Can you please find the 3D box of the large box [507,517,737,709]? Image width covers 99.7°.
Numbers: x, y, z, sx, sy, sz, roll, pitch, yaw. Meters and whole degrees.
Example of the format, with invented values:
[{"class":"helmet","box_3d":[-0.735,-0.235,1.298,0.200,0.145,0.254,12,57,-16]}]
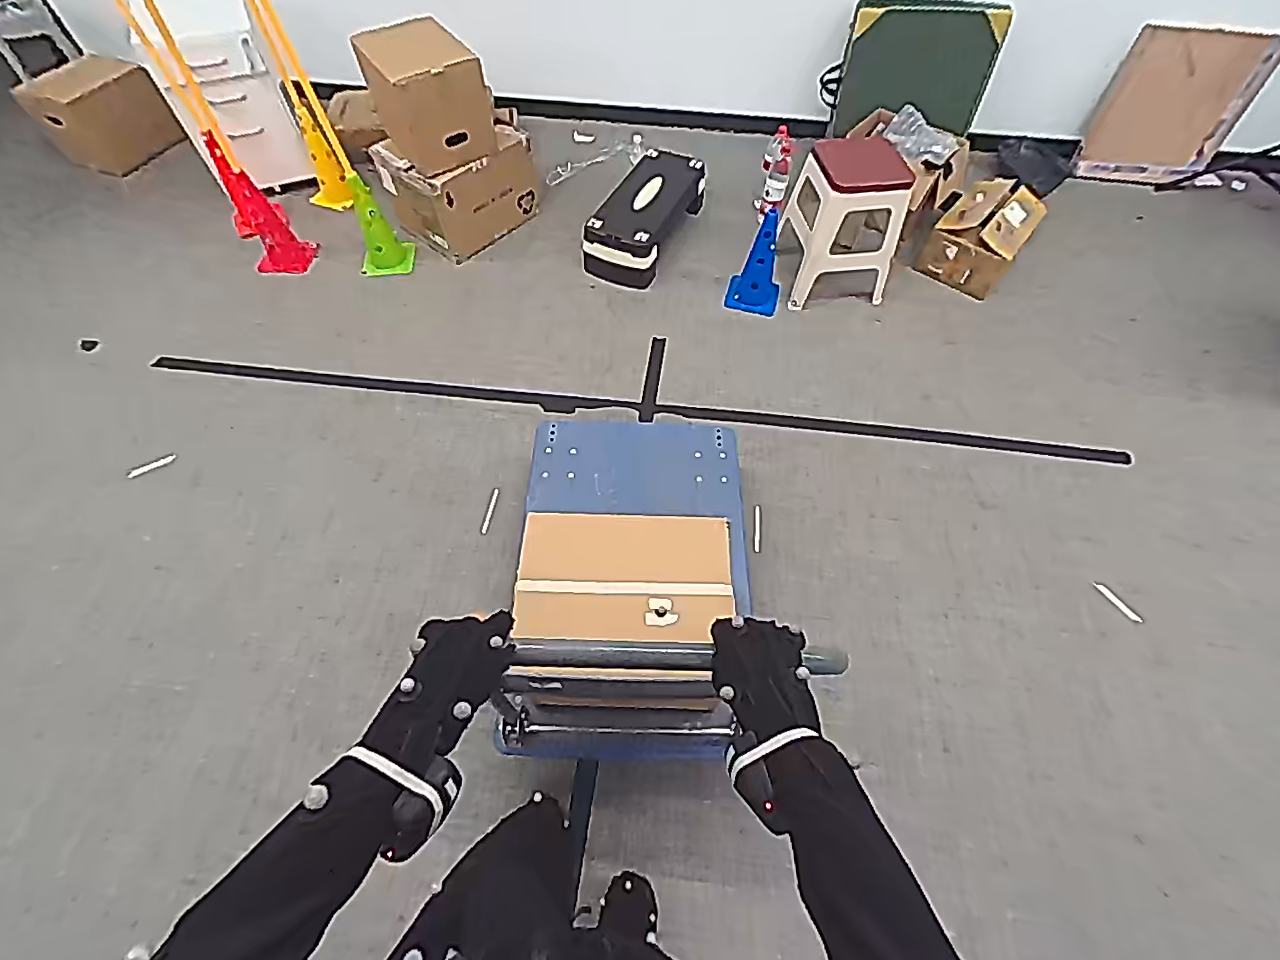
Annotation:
[{"class":"large box","box_3d":[-0.036,0.287,1.128,0.408,0.320,0.320,2,58,-1]}]
